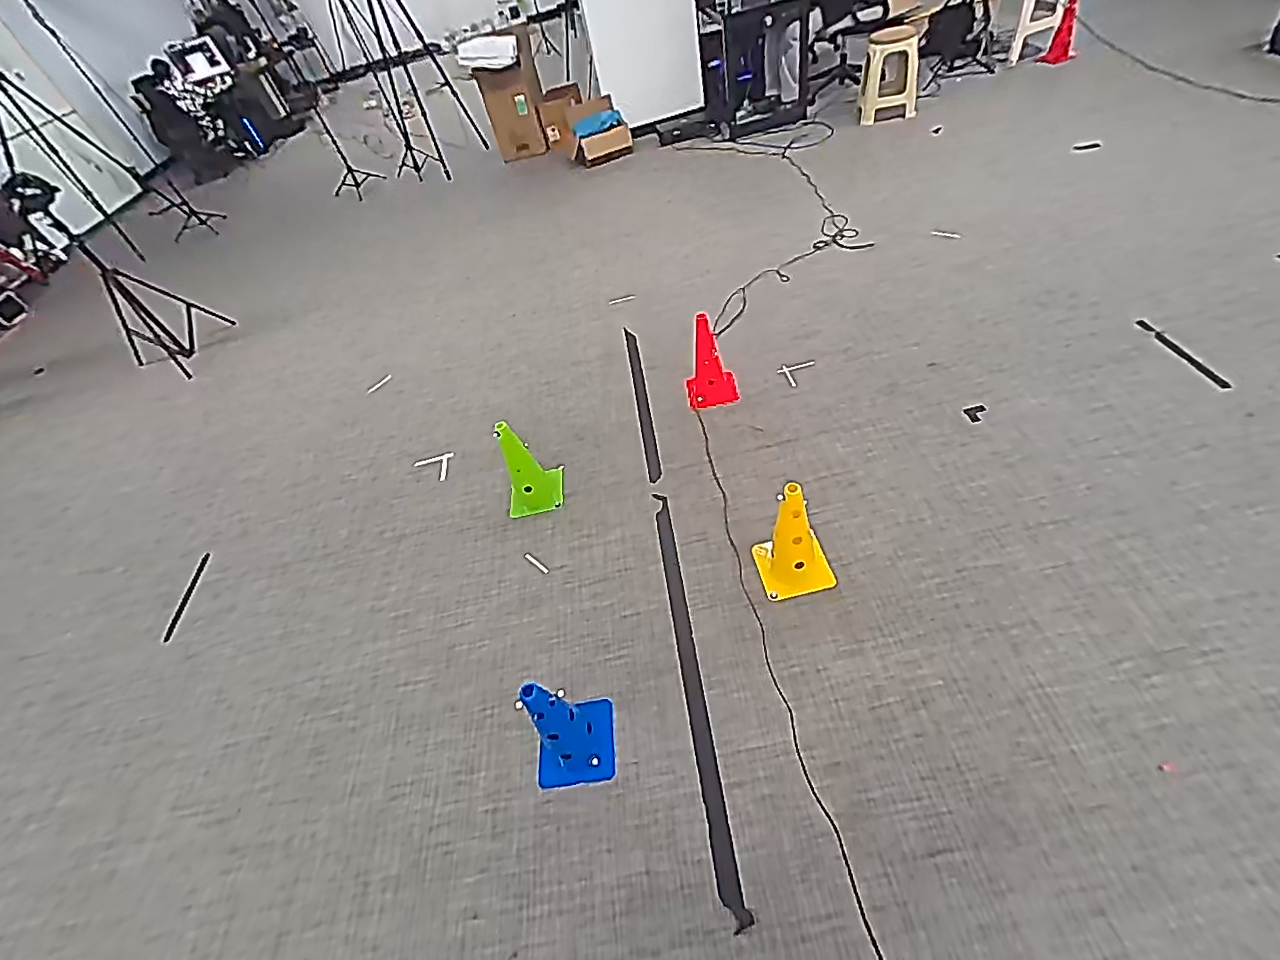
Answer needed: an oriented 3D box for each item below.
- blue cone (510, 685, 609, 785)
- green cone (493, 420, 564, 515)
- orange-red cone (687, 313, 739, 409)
[{"bbox_3d":[-0.209,0.572,1.285,0.192,0.380,0.193,-11,47,8],"label":"blue cone"},{"bbox_3d":[-0.421,-0.074,1.904,0.202,0.368,0.200,-13,47,5],"label":"green cone"},{"bbox_3d":[0.263,-0.478,2.080,0.199,0.360,0.198,-9,49,7],"label":"orange-red cone"}]
